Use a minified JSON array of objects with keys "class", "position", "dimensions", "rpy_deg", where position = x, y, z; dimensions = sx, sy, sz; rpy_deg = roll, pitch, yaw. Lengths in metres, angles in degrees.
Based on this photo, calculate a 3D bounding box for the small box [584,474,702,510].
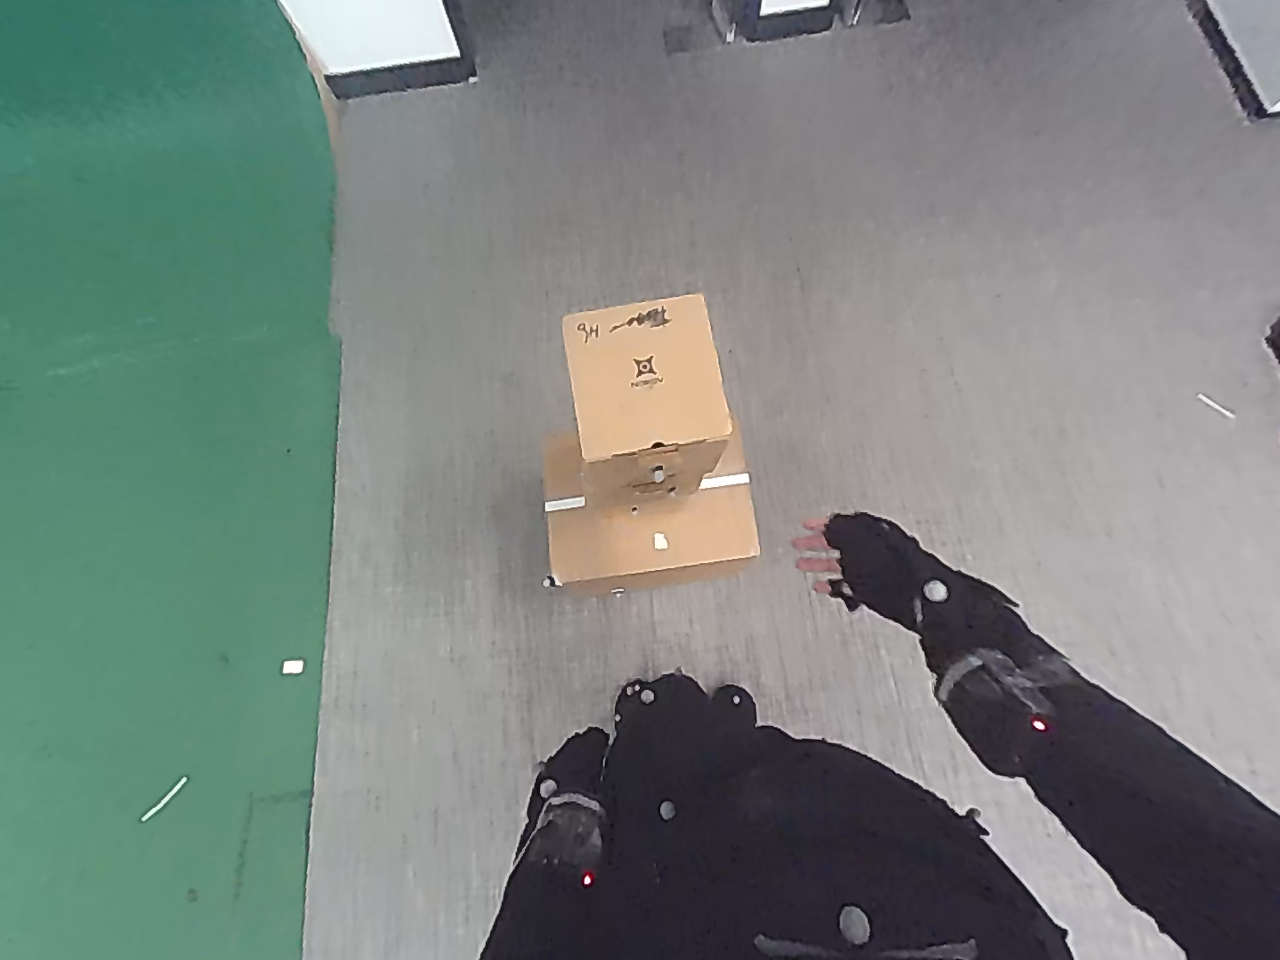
[{"class":"small box","position":[-0.004,-0.055,0.841],"dimensions":[0.168,0.176,0.179],"rpy_deg":[-10,78,-1]}]

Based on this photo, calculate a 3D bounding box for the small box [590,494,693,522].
[{"class":"small box","position":[-0.005,-0.020,0.999],"dimensions":[0.179,0.176,0.168],"rpy_deg":[-8,79,0]}]

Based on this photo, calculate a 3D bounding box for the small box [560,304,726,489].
[{"class":"small box","position":[0.004,-0.090,0.681],"dimensions":[0.168,0.176,0.179],"rpy_deg":[-10,79,-1]}]
